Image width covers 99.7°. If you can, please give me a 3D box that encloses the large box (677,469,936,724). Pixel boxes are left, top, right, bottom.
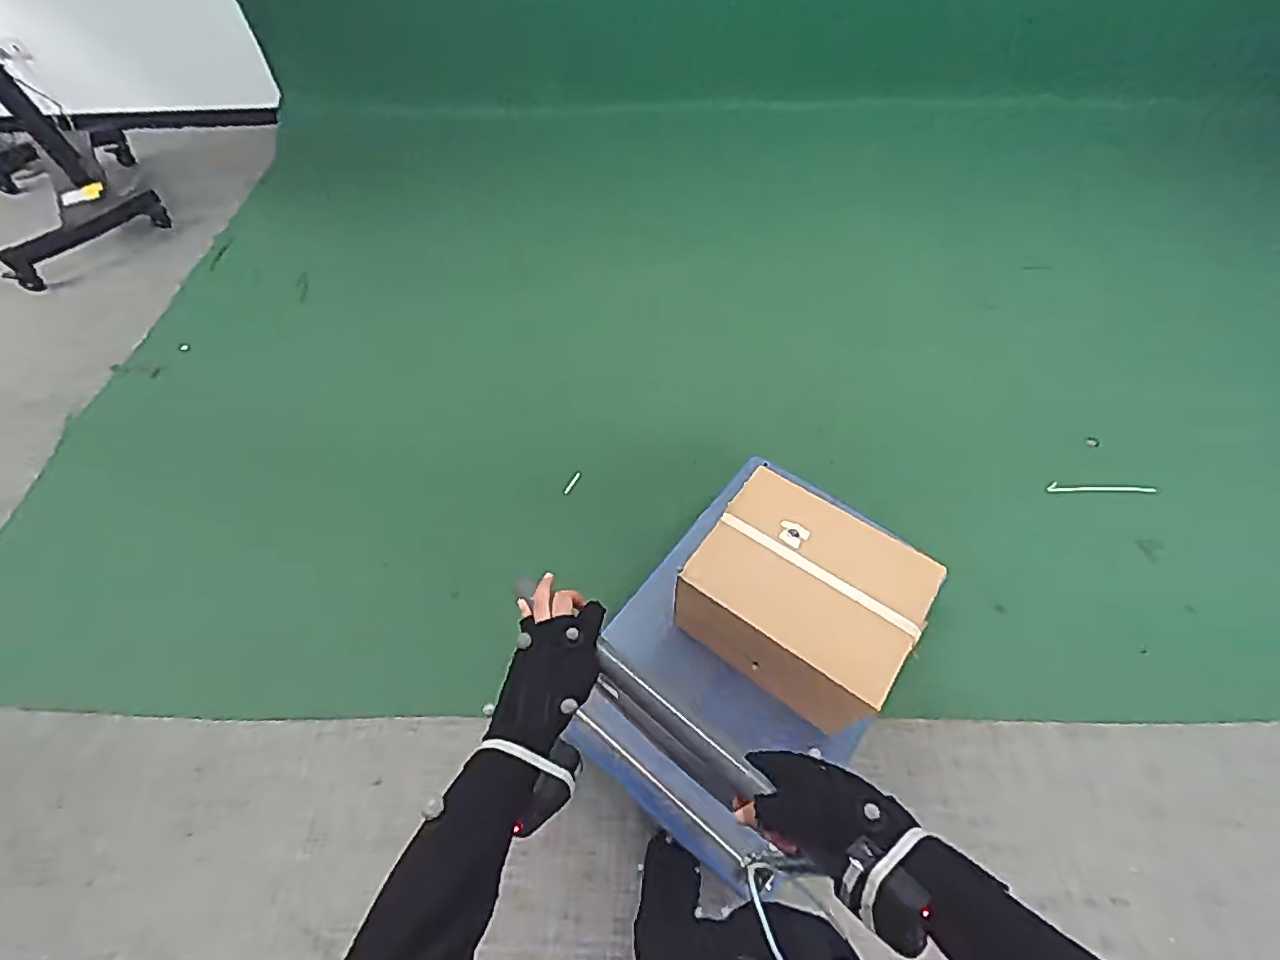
[{"bbox_3d":[0.328,0.252,1.159,0.408,0.320,0.320,31,63,21],"label":"large box"}]
